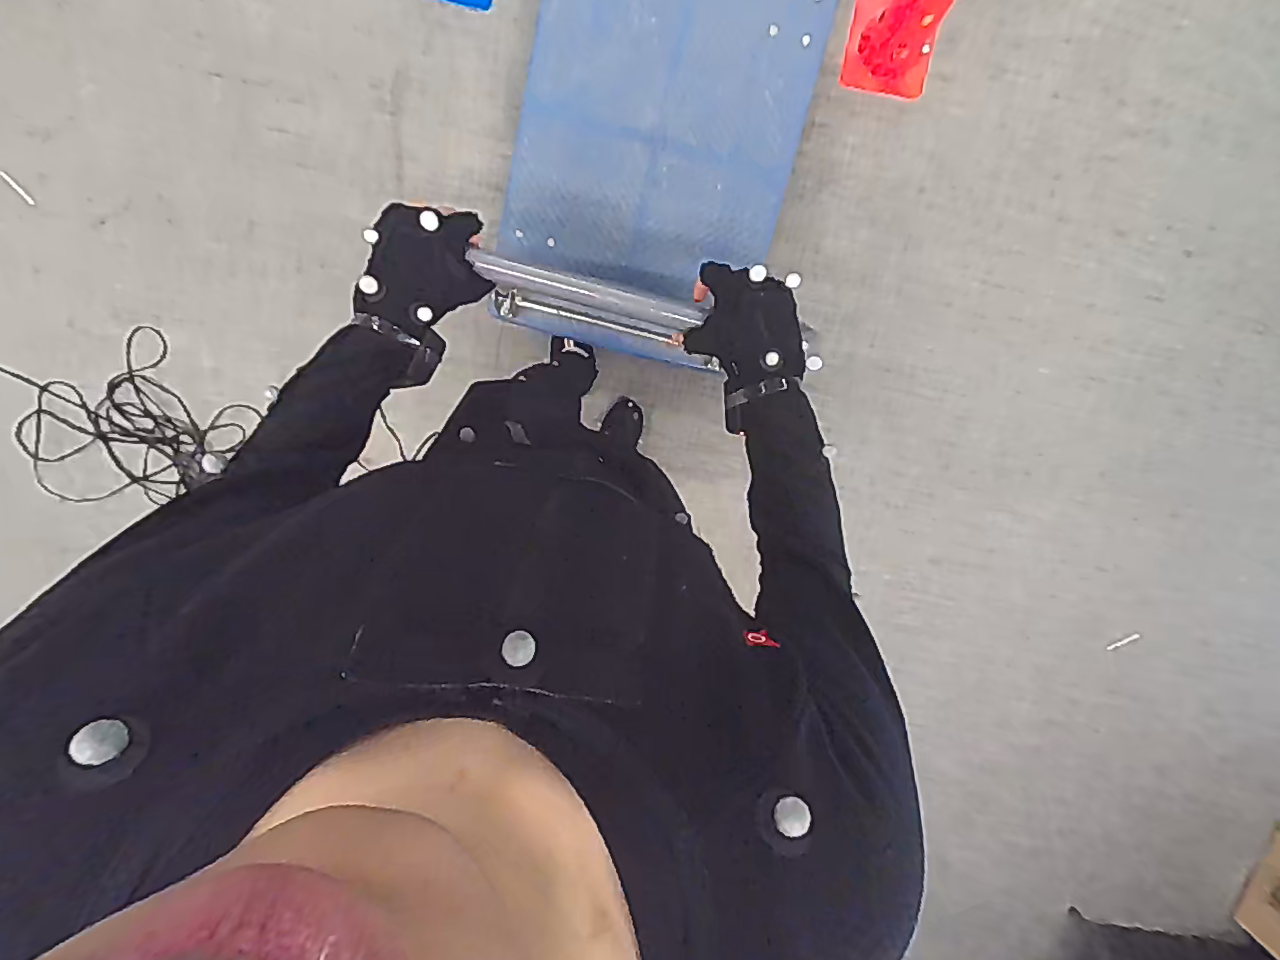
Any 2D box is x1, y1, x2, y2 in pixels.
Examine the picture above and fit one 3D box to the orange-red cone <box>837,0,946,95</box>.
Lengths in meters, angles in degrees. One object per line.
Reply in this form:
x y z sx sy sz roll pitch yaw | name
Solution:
0.570 -0.978 1.086 0.199 0.360 0.198 11 102 -2 | orange-red cone
